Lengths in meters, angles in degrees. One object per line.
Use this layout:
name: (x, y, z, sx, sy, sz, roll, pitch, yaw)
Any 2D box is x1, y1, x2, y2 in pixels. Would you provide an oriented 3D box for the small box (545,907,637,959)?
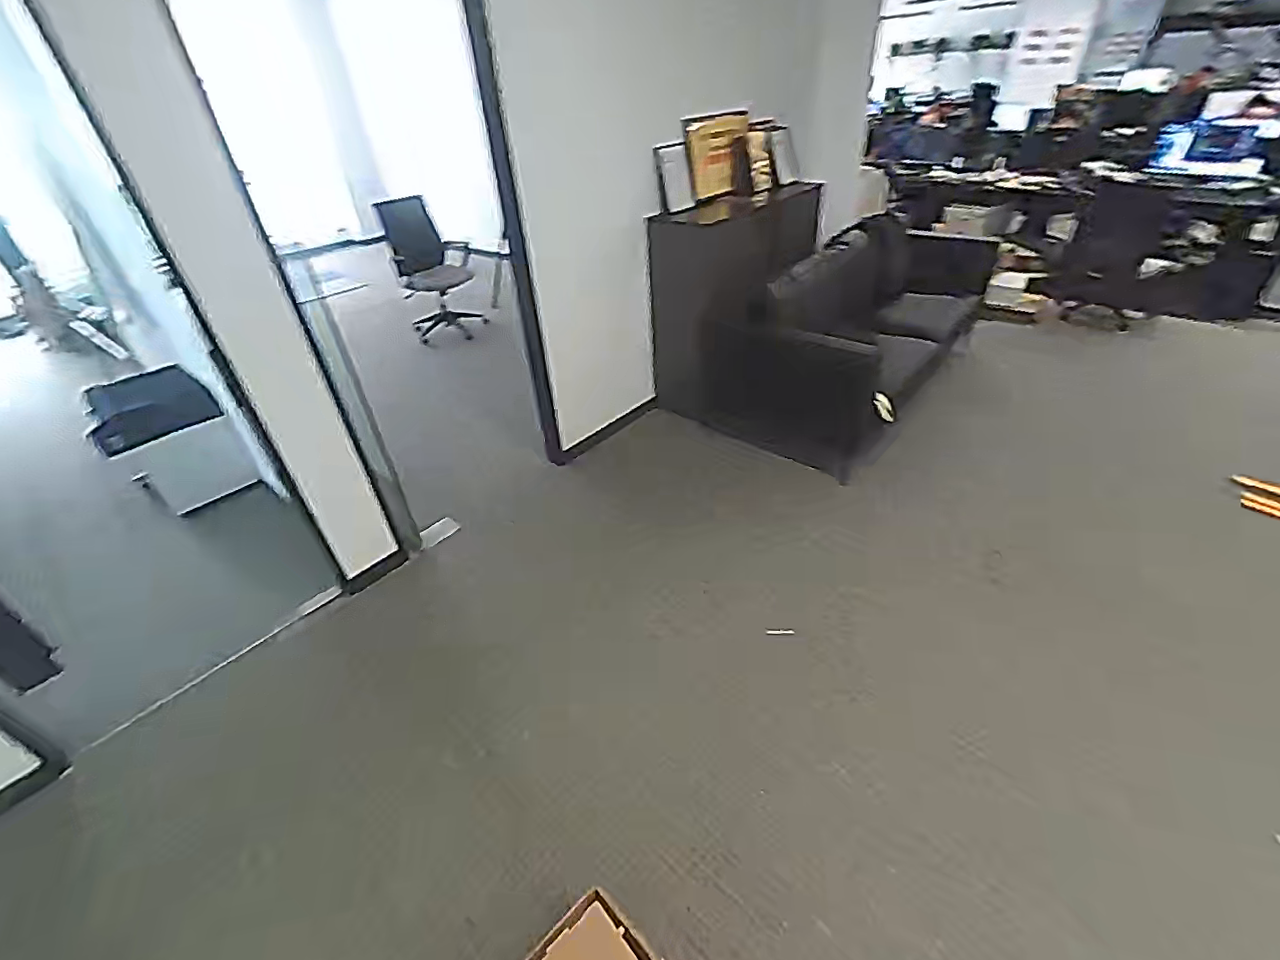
small box: (-0.069, 0.857, 0.870, 0.168, 0.176, 0.179, -30, 43, -30)
